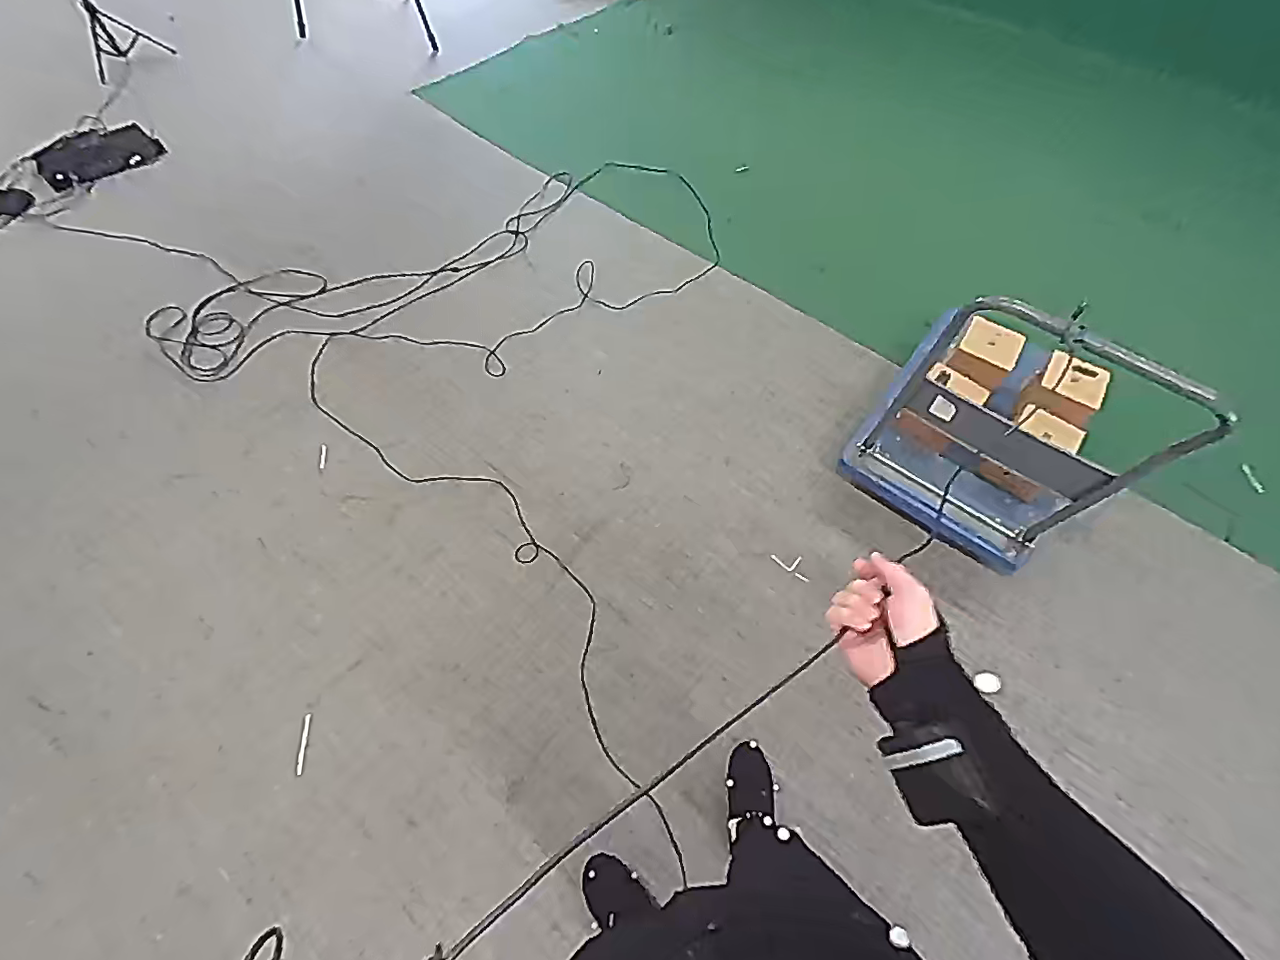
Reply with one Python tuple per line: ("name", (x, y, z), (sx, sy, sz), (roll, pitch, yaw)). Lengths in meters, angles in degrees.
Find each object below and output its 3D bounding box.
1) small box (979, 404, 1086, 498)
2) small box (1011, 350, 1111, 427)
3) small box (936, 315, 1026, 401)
("small box", (1.135, -0.082, 1.577), (0.168, 0.176, 0.179), (36, 66, 17))
("small box", (1.304, -0.263, 1.684), (0.168, 0.176, 0.179), (32, 65, 16))
("small box", (1.097, -0.390, 1.751), (0.168, 0.176, 0.179), (32, 64, 15))
